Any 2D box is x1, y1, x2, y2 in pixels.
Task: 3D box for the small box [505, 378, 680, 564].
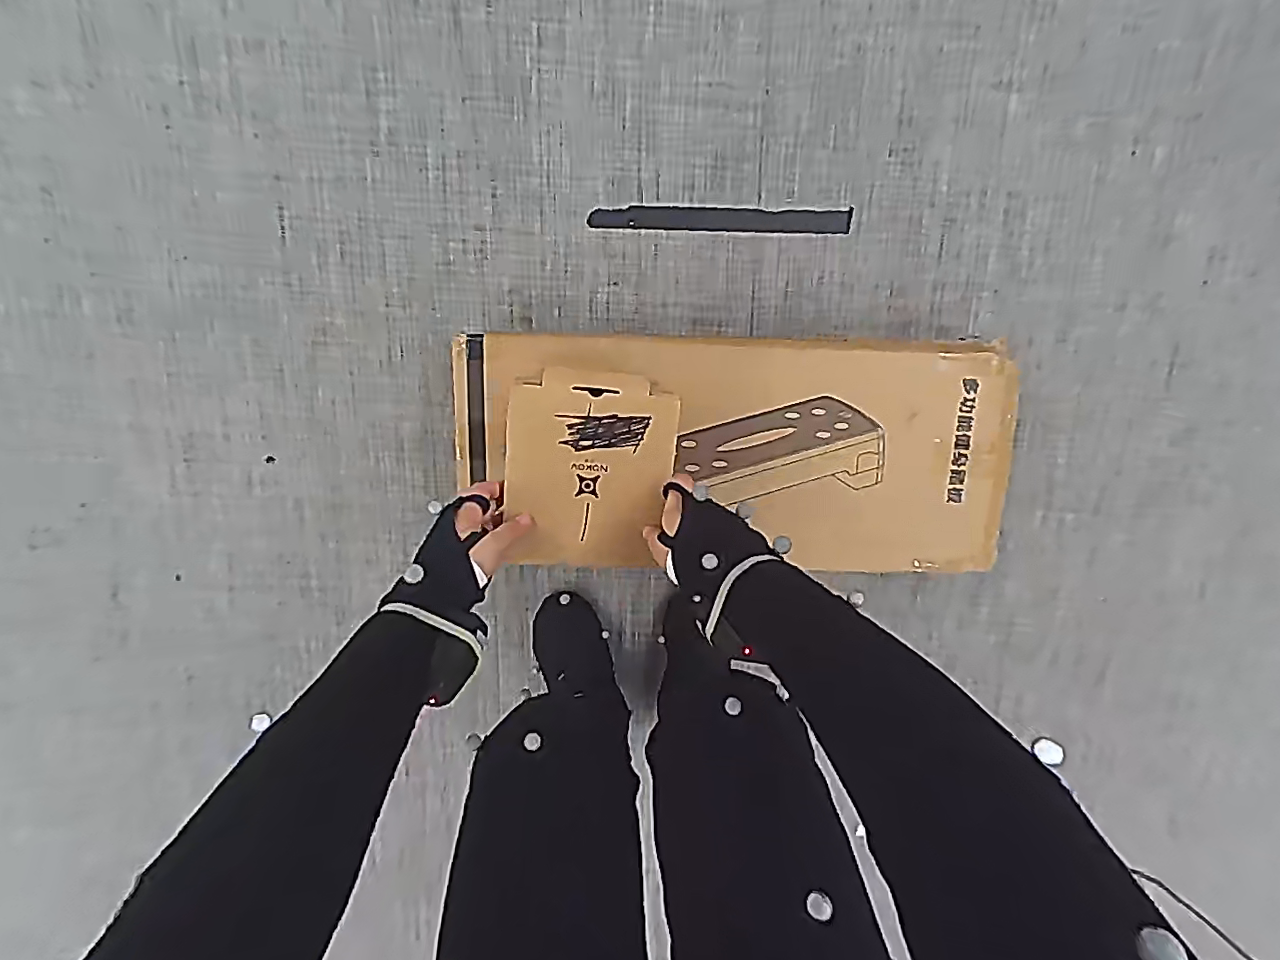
[{"bbox_3d":[-0.056,-0.020,0.614,0.168,0.176,0.179,4,103,-5],"label":"small box"}]
